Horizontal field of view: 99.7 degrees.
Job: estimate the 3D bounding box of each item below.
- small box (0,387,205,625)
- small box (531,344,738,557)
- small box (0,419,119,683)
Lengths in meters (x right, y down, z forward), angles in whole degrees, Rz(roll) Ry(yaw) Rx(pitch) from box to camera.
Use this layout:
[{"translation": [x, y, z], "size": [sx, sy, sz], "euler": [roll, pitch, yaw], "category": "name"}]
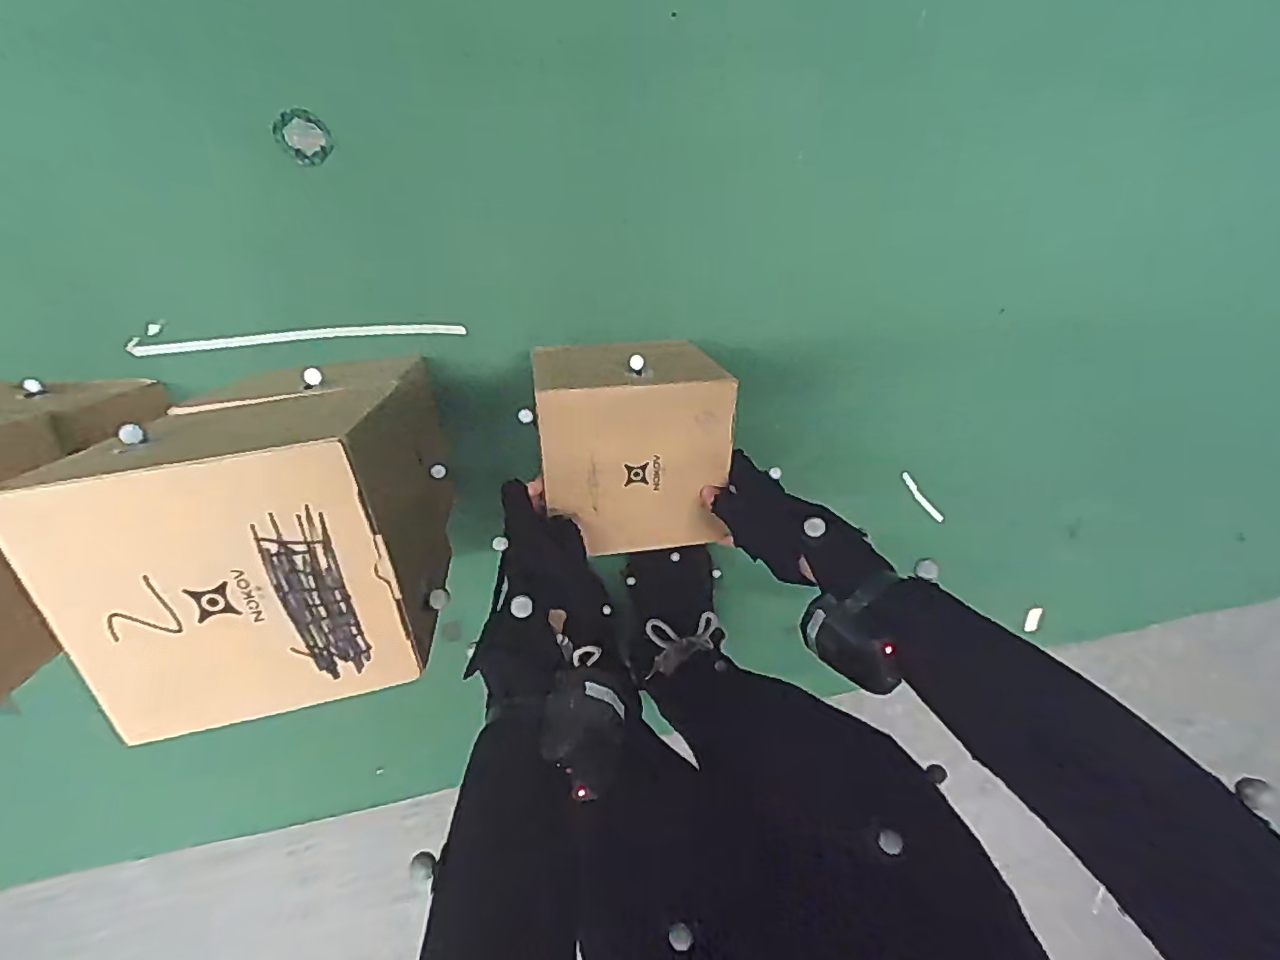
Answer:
[{"translation": [-0.543, 0.018, 0.491], "size": [0.168, 0.176, 0.179], "euler": [-3, 109, -11], "category": "small box"}, {"translation": [-0.017, -0.042, 0.559], "size": [0.179, 0.176, 0.168], "euler": [-5, 116, -11], "category": "small box"}, {"translation": [-0.500, 0.061, 0.337], "size": [0.179, 0.176, 0.168], "euler": [-4, 110, -11], "category": "small box"}]
